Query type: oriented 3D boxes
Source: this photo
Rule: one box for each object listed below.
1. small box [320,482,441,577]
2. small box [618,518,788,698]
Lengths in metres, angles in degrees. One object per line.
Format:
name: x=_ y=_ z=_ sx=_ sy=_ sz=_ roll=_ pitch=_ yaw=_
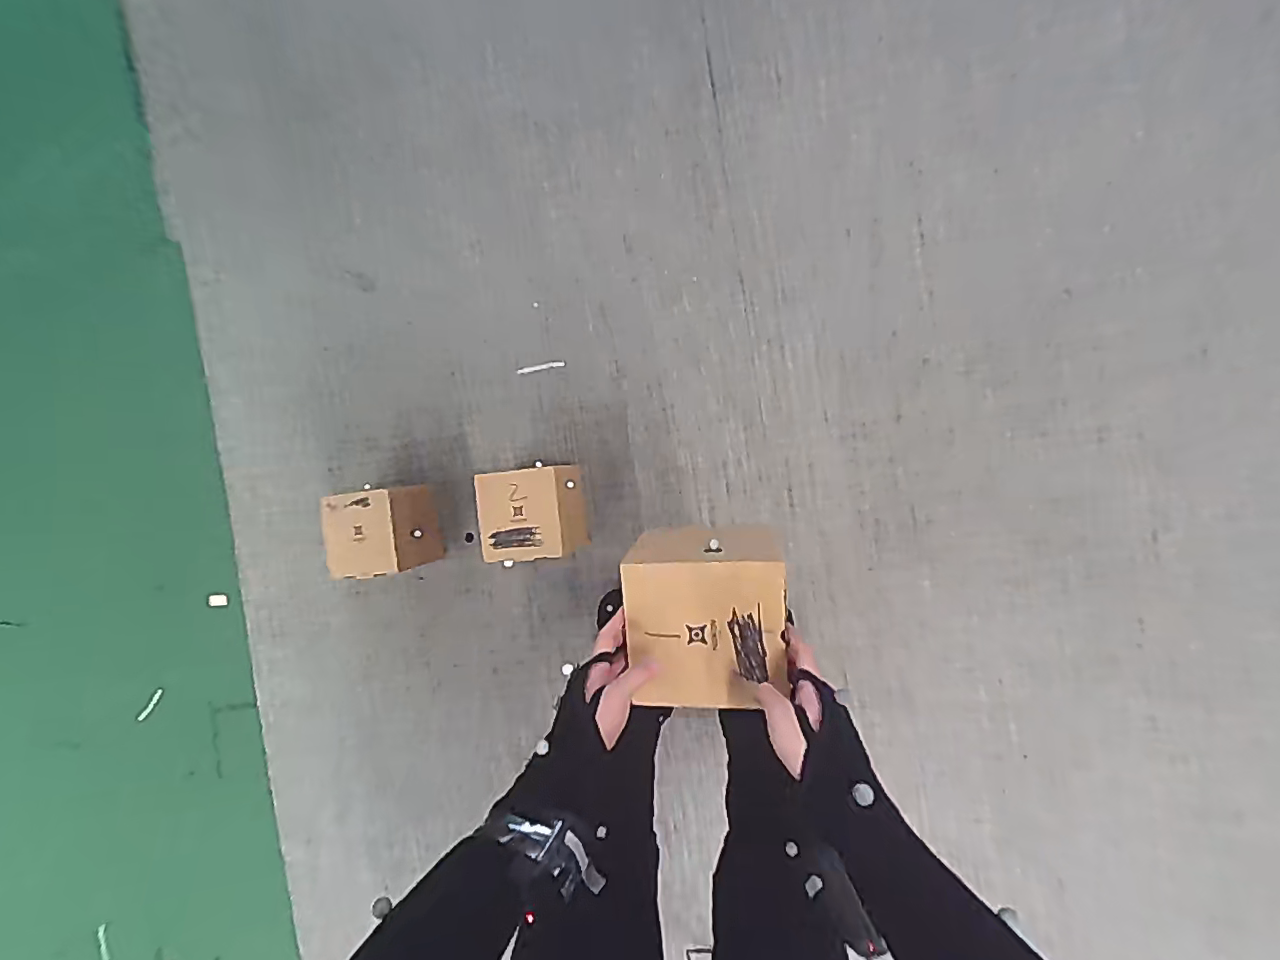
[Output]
small box: x=-0.555 y=0.103 z=1.177 sx=0.168 sy=0.176 sz=0.179 roll=-7 pitch=91 yaw=12
small box: x=0.081 y=0.142 z=0.655 sx=0.179 sy=0.176 sz=0.168 roll=-3 pitch=97 yaw=12
